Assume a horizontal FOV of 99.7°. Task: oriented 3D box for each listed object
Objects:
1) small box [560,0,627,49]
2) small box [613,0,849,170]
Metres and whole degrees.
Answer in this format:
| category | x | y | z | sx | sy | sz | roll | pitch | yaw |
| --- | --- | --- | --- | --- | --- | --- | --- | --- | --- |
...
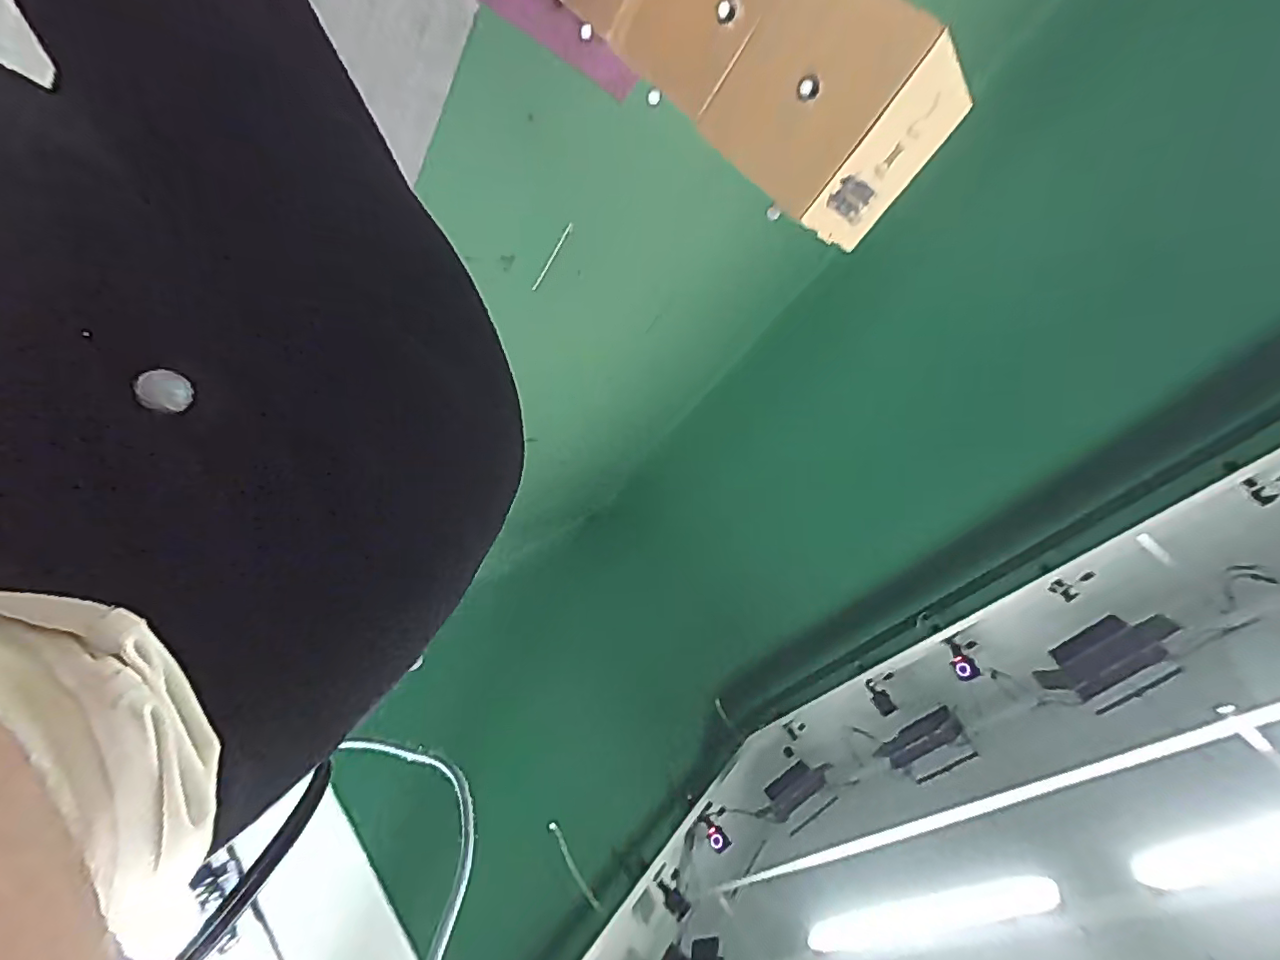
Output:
| category | x | y | z | sx | sy | sz | roll | pitch | yaw |
| --- | --- | --- | --- | --- | --- | --- | --- | --- | --- |
| small box | -0.001 | -0.631 | 0.667 | 0.168 | 0.176 | 0.179 | -48 | 162 | 30 |
| small box | 0.101 | -0.511 | 0.623 | 0.179 | 0.176 | 0.168 | -48 | 160 | 30 |
